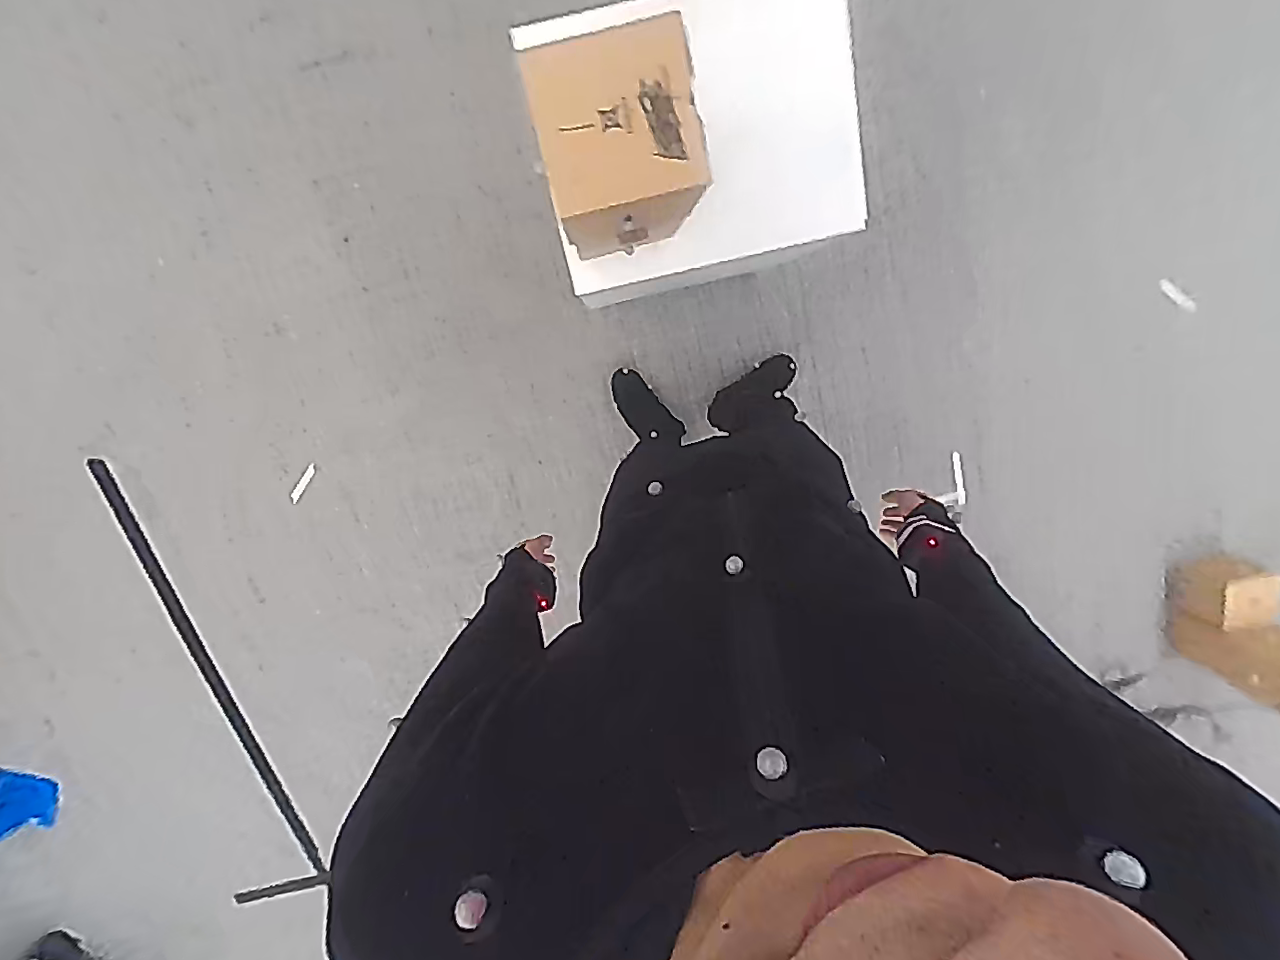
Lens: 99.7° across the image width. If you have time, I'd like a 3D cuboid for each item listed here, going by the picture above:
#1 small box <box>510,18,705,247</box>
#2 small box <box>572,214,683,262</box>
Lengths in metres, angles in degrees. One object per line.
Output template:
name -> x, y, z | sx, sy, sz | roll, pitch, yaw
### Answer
small box -> -0.035, -0.391, 0.643 | 0.179, 0.176, 0.168 | -14, 105, 2
small box -> -0.043, -0.440, 0.800 | 0.168, 0.176, 0.179 | -15, 105, 1
